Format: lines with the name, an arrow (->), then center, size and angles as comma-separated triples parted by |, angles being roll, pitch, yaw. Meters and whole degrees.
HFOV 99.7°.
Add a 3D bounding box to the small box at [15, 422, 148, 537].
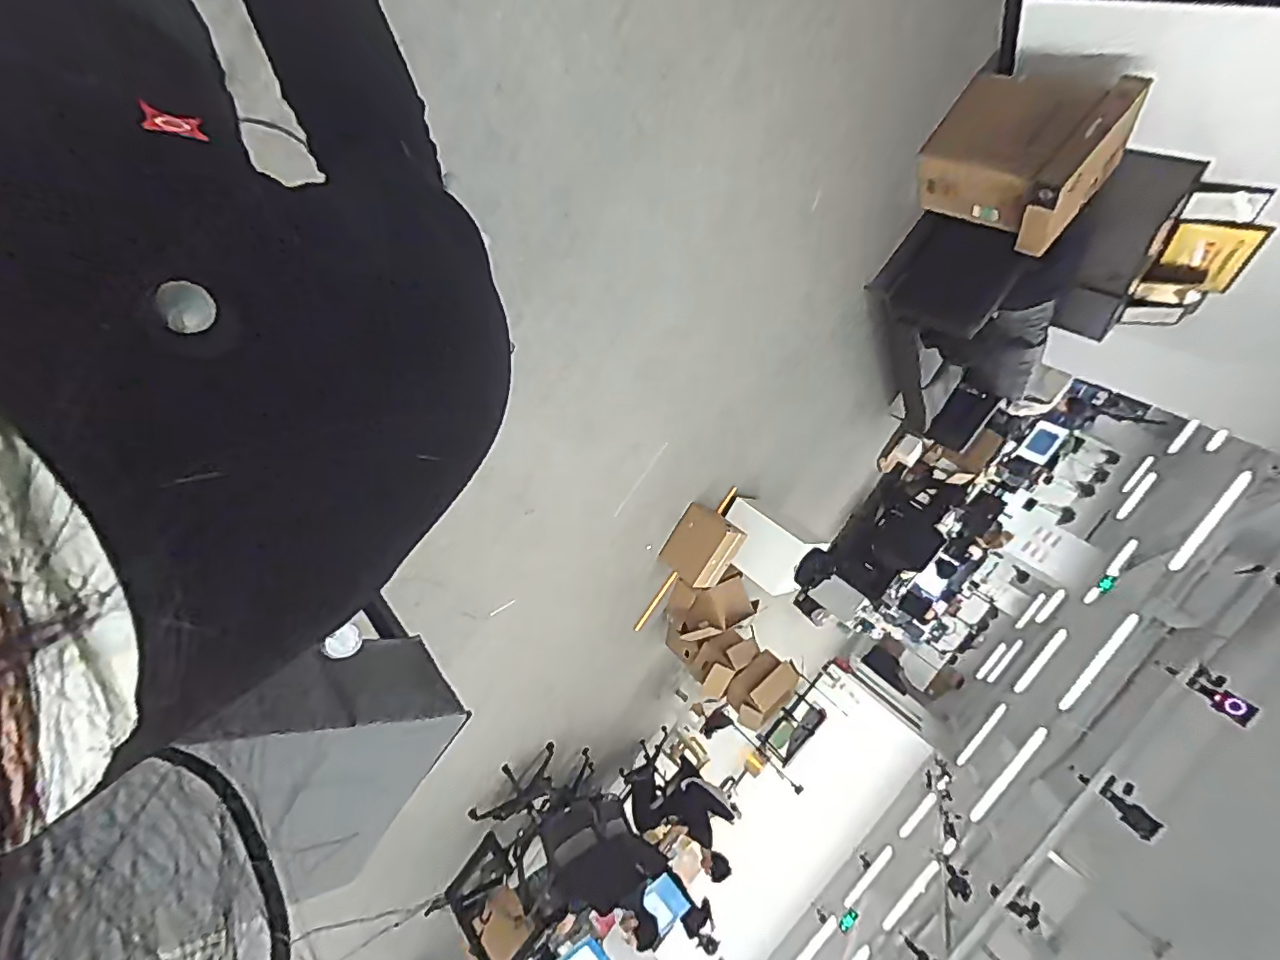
small box -> -1.198, 0.002, 1.157 | 0.168, 0.176, 0.179 | 11, 115, -56
